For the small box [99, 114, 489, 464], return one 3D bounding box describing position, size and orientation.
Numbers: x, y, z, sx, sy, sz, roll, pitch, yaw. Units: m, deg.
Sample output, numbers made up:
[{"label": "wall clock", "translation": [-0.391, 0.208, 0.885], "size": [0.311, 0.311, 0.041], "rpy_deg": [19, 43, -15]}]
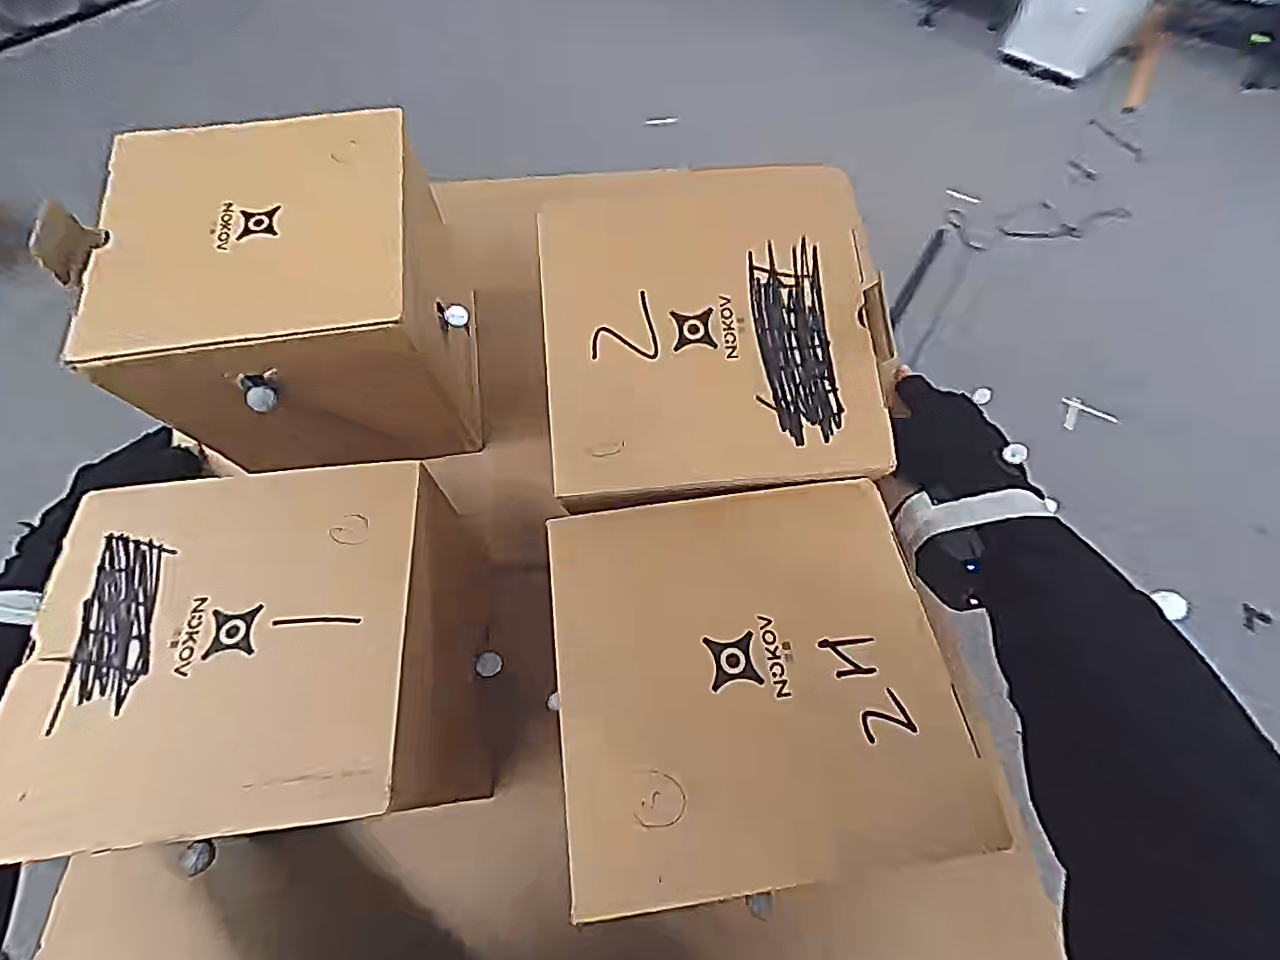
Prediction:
[{"label": "small box", "translation": [-0.214, -0.124, 0.396], "size": [0.179, 0.176, 0.168], "rpy_deg": [-7, 69, -2]}]
